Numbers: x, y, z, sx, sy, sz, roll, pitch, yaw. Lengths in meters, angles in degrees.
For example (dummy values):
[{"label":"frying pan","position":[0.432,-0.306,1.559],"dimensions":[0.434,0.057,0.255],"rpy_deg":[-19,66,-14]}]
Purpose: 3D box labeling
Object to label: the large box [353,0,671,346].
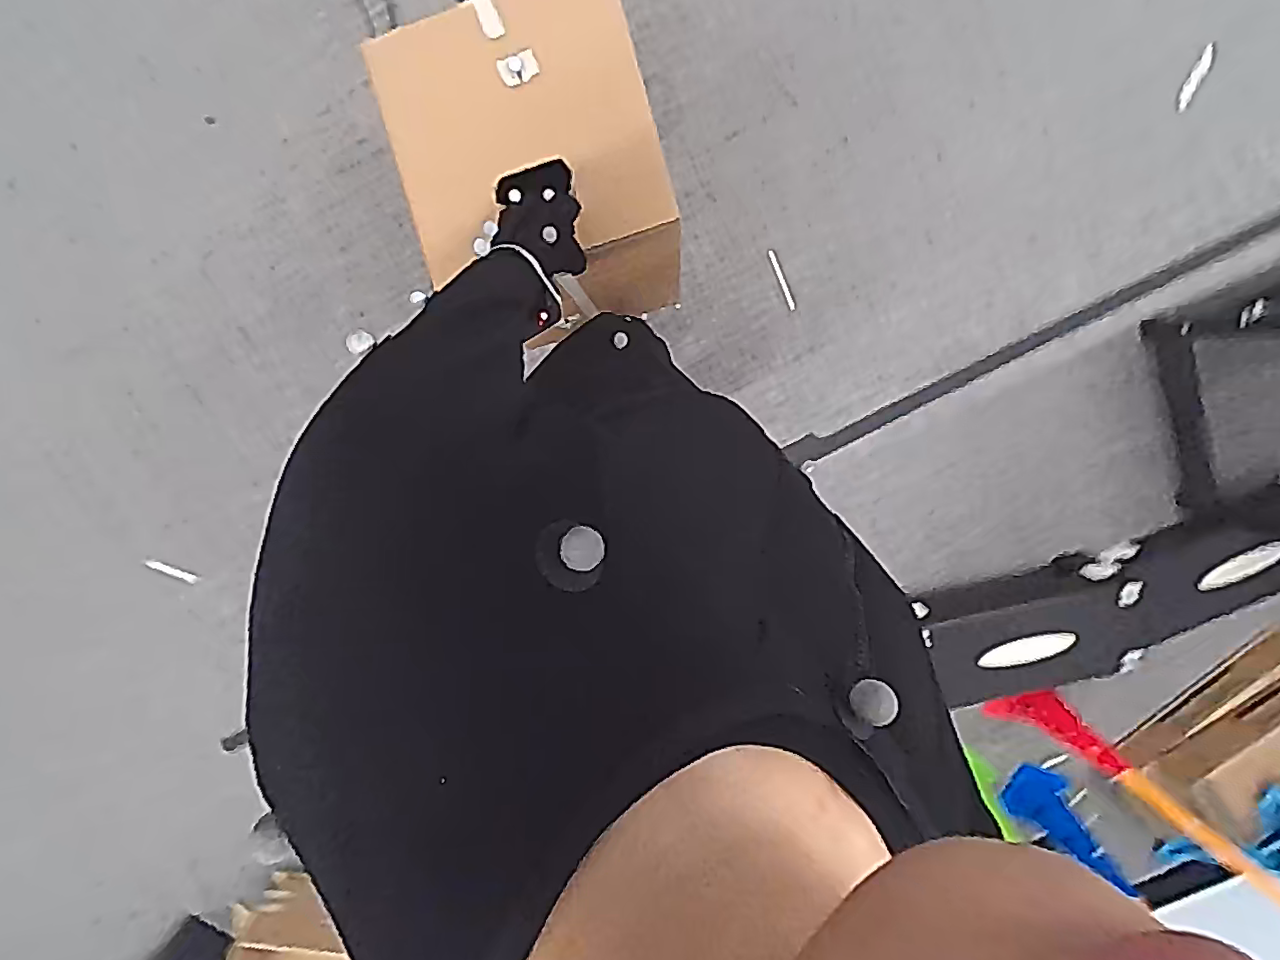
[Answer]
[{"label":"large box","position":[-0.149,-0.431,0.843],"dimensions":[0.320,0.408,0.320],"rpy_deg":[-17,95,6]}]
